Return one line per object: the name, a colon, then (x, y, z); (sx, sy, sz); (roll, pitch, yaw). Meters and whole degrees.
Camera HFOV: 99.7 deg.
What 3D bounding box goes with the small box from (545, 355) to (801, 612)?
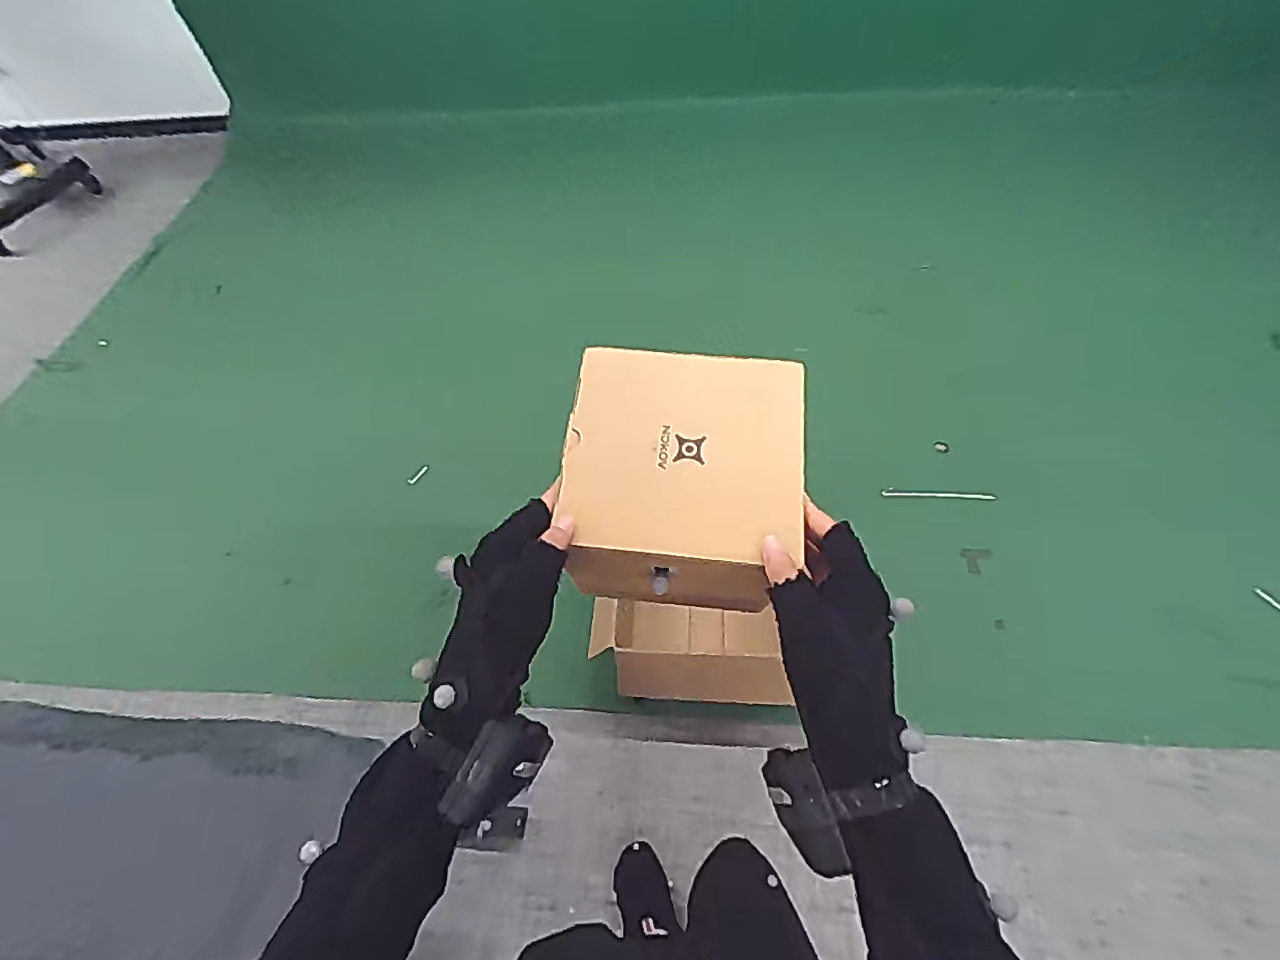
small box: (0.033, 0.014, 0.472); (0.179, 0.176, 0.168); (5, 67, 6)
